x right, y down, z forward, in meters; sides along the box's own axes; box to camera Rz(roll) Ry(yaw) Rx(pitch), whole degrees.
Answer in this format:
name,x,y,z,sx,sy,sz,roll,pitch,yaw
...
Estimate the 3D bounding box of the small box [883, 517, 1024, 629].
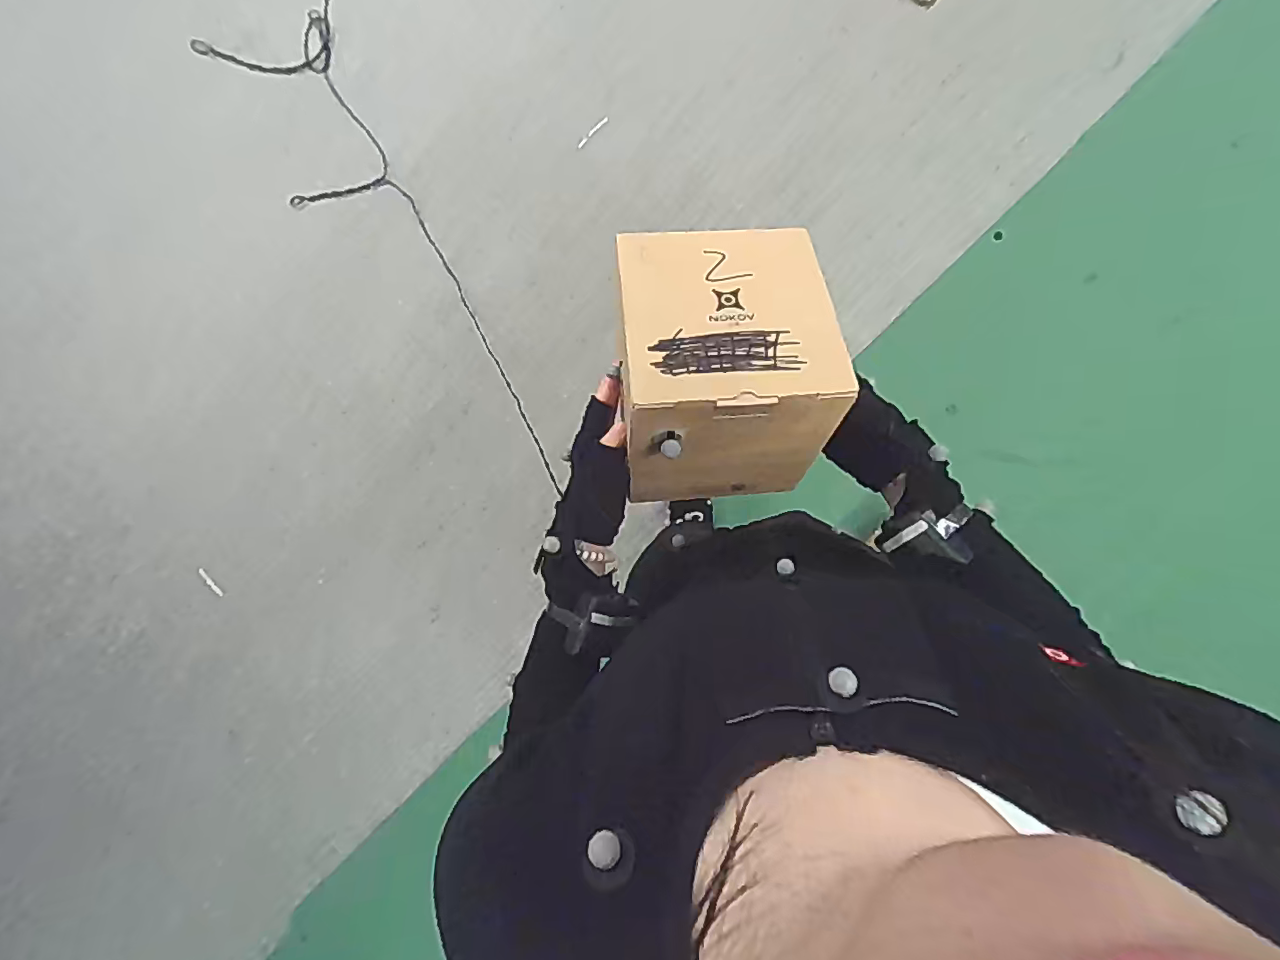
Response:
name,x,y,z,sx,sy,sz,roll,pitch,yaw
small box,0.682,0.194,1.201,0.179,0.176,0.168,42,93,6
